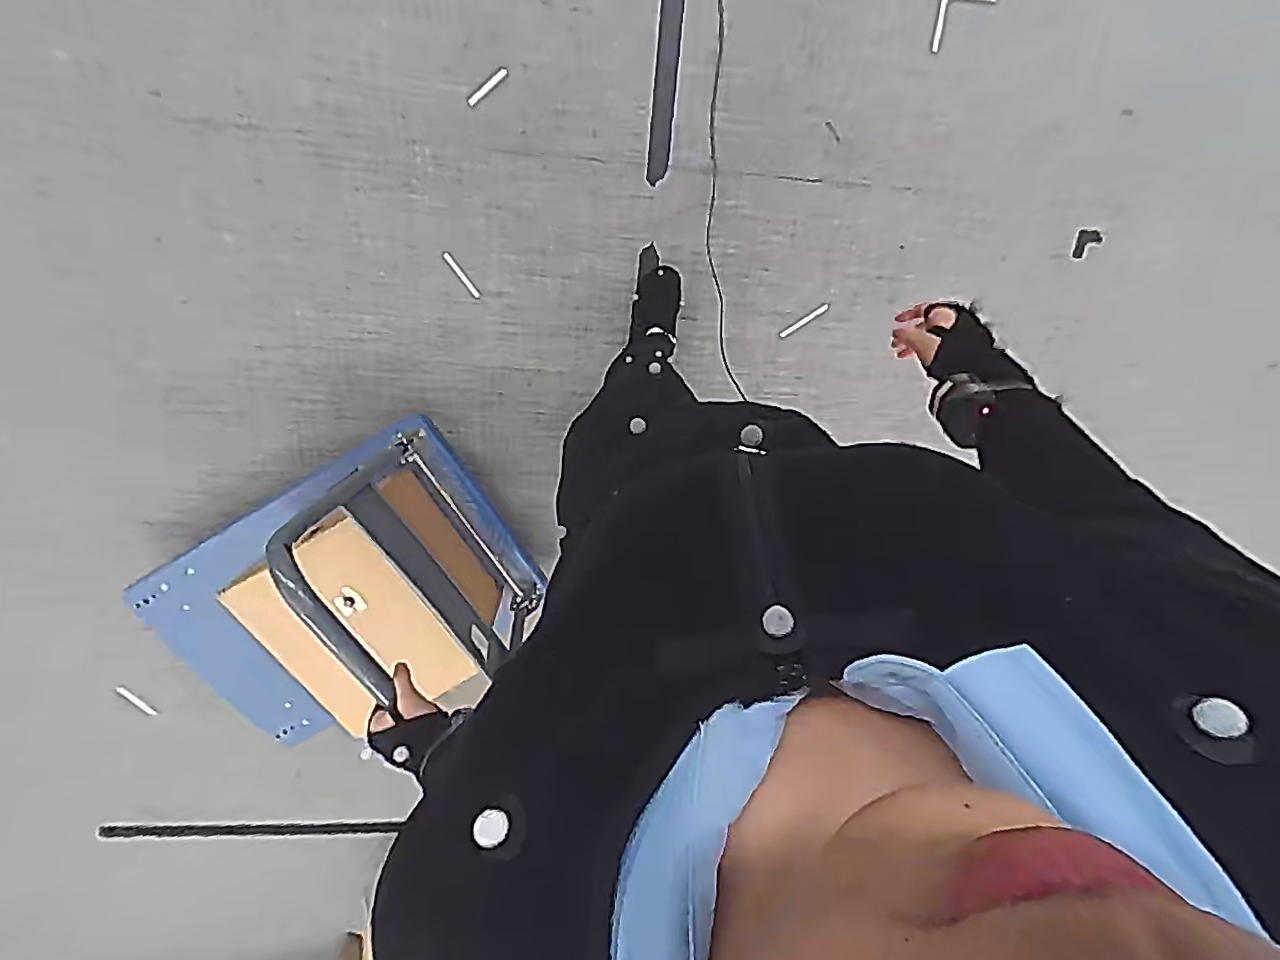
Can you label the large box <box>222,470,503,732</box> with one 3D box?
[{"bbox_3d":[-0.563,0.251,1.195,0.320,0.320,0.408,-30,108,5],"label":"large box"}]
